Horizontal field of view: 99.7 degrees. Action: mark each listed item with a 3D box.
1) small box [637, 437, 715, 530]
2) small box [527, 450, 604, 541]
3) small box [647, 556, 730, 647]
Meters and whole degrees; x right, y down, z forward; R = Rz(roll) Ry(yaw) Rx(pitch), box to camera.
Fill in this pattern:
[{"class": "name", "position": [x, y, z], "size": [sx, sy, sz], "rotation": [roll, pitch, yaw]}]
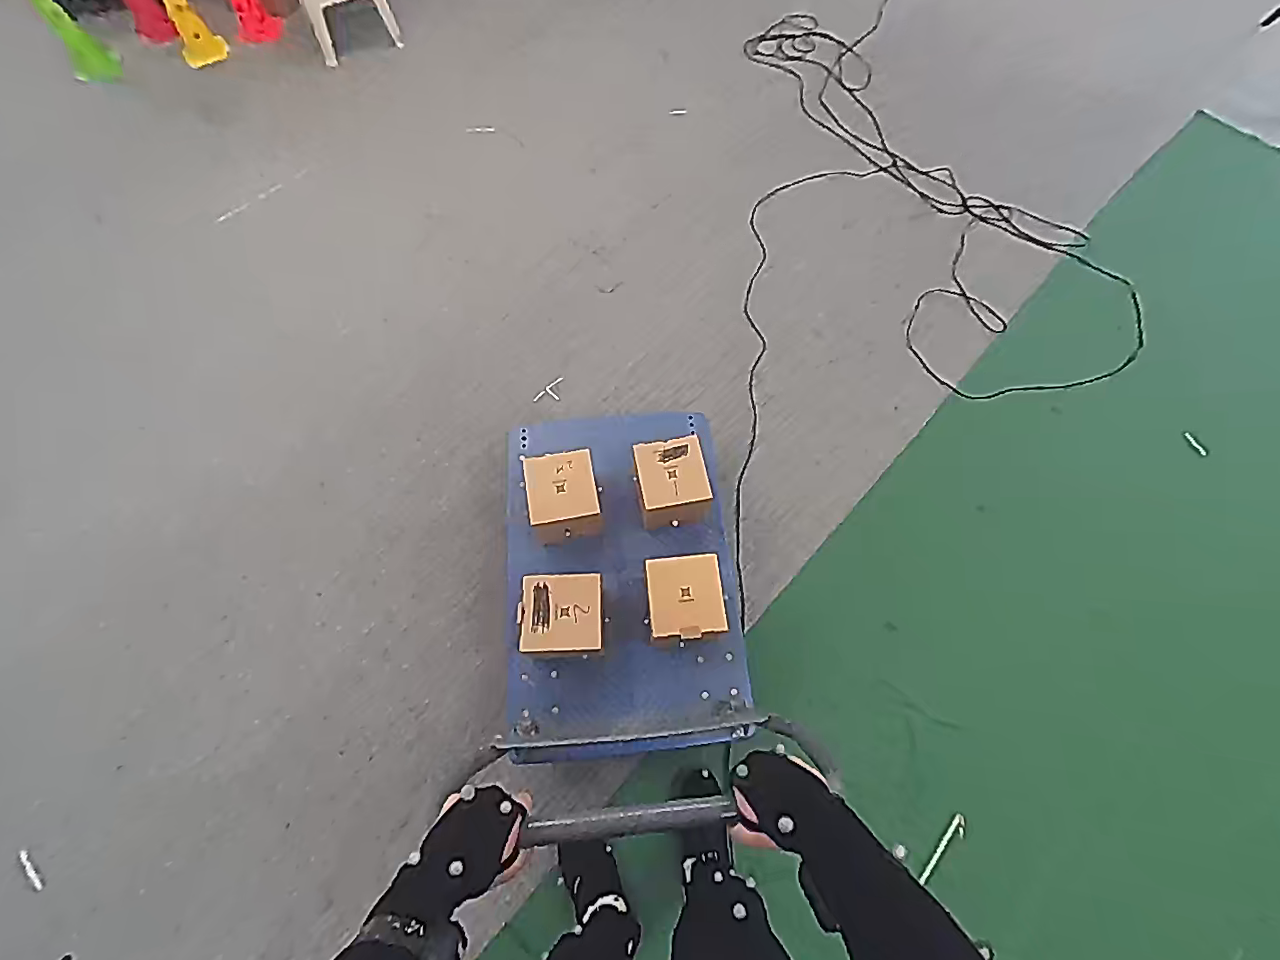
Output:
[{"class": "small box", "position": [0.085, 0.013, 1.379], "size": [0.168, 0.176, 0.179], "rotation": [-9, 68, -4]}, {"class": "small box", "position": [-0.183, 0.046, 1.361], "size": [0.168, 0.176, 0.179], "rotation": [-9, 68, -5]}, {"class": "small box", "position": [0.105, 0.288, 1.266], "size": [0.168, 0.176, 0.179], "rotation": [-4, 68, -3]}]
